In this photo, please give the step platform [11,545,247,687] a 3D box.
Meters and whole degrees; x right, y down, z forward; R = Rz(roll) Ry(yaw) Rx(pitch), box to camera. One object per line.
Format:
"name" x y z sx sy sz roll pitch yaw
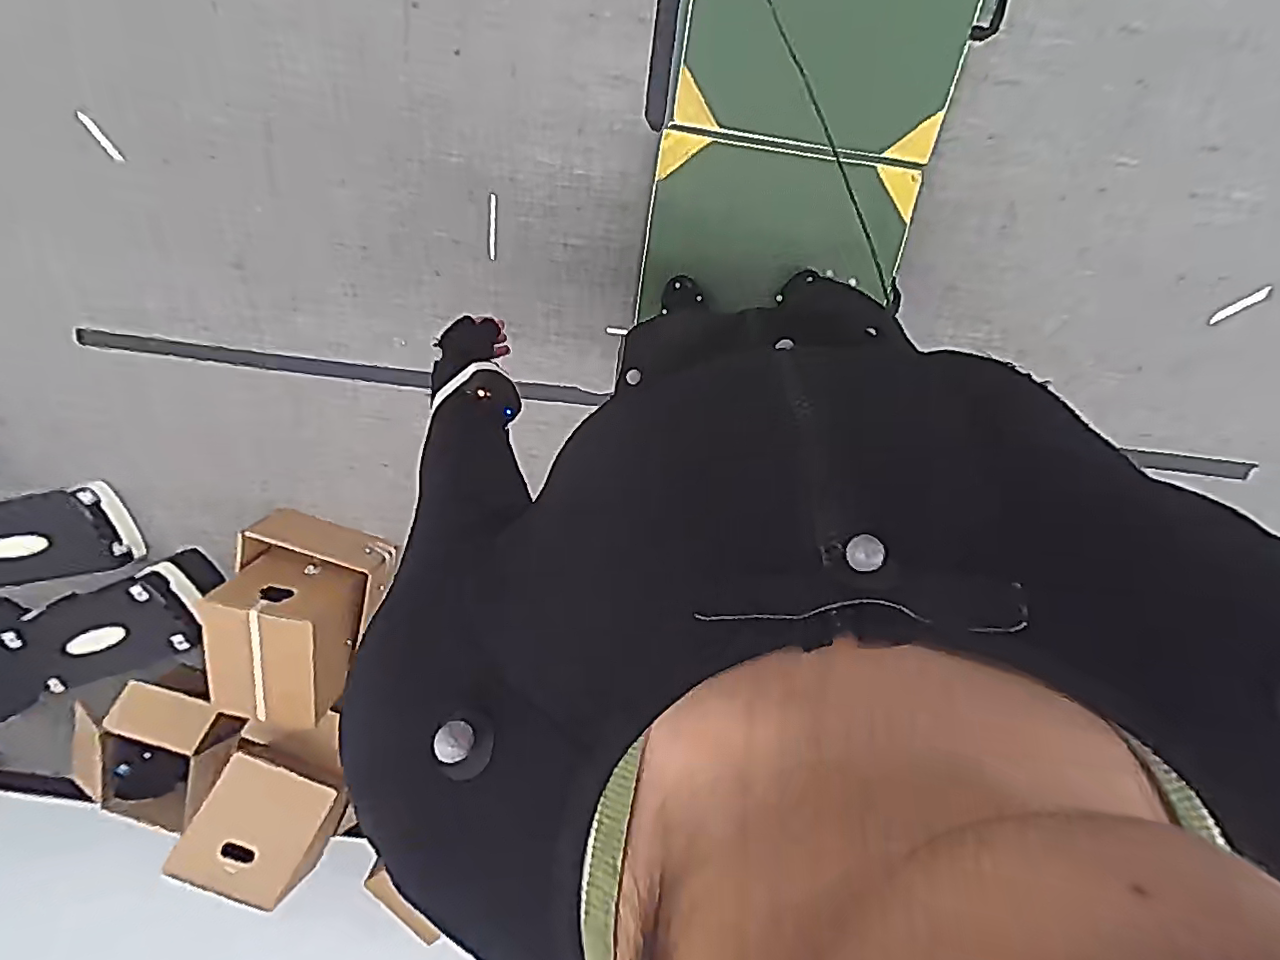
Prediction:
"step platform" -1.730 0.467 1.835 0.684 0.204 0.286 -20 109 10
